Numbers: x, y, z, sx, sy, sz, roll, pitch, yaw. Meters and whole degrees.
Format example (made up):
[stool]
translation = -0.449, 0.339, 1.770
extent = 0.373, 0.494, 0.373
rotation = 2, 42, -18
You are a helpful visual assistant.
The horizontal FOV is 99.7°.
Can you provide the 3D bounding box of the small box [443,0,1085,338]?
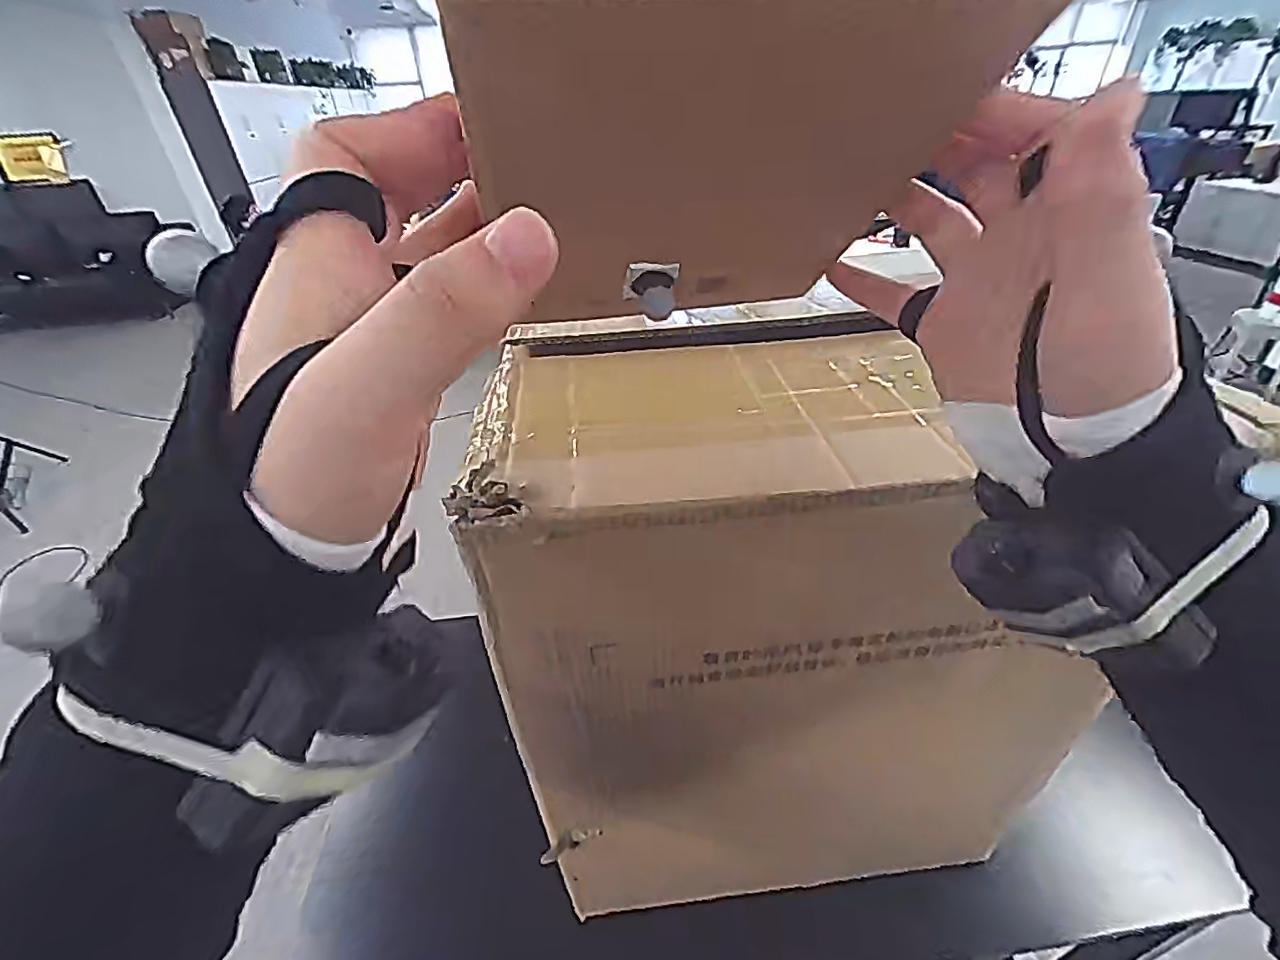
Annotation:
[small box]
translation = 0.010, -0.178, 0.215
extent = 0.168, 0.179, 0.176
rotation = -11, -5, -10
